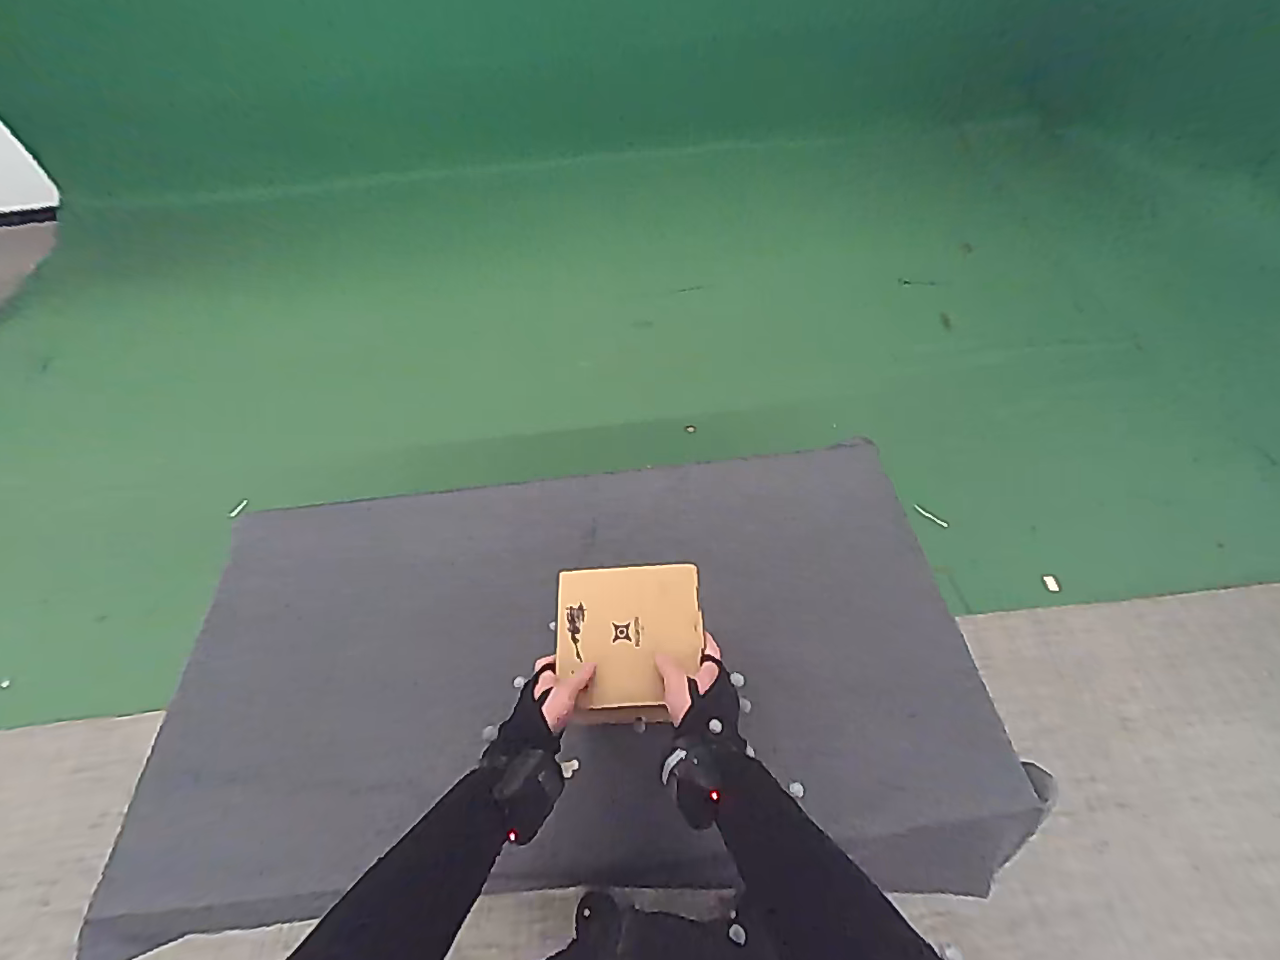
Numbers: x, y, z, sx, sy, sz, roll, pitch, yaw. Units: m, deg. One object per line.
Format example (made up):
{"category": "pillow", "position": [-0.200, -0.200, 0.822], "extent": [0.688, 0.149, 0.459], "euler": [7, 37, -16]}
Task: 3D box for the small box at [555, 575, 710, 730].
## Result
{"category": "small box", "position": [-0.007, 0.232, 0.713], "extent": [0.179, 0.176, 0.168], "euler": [-3, 60, 2]}
